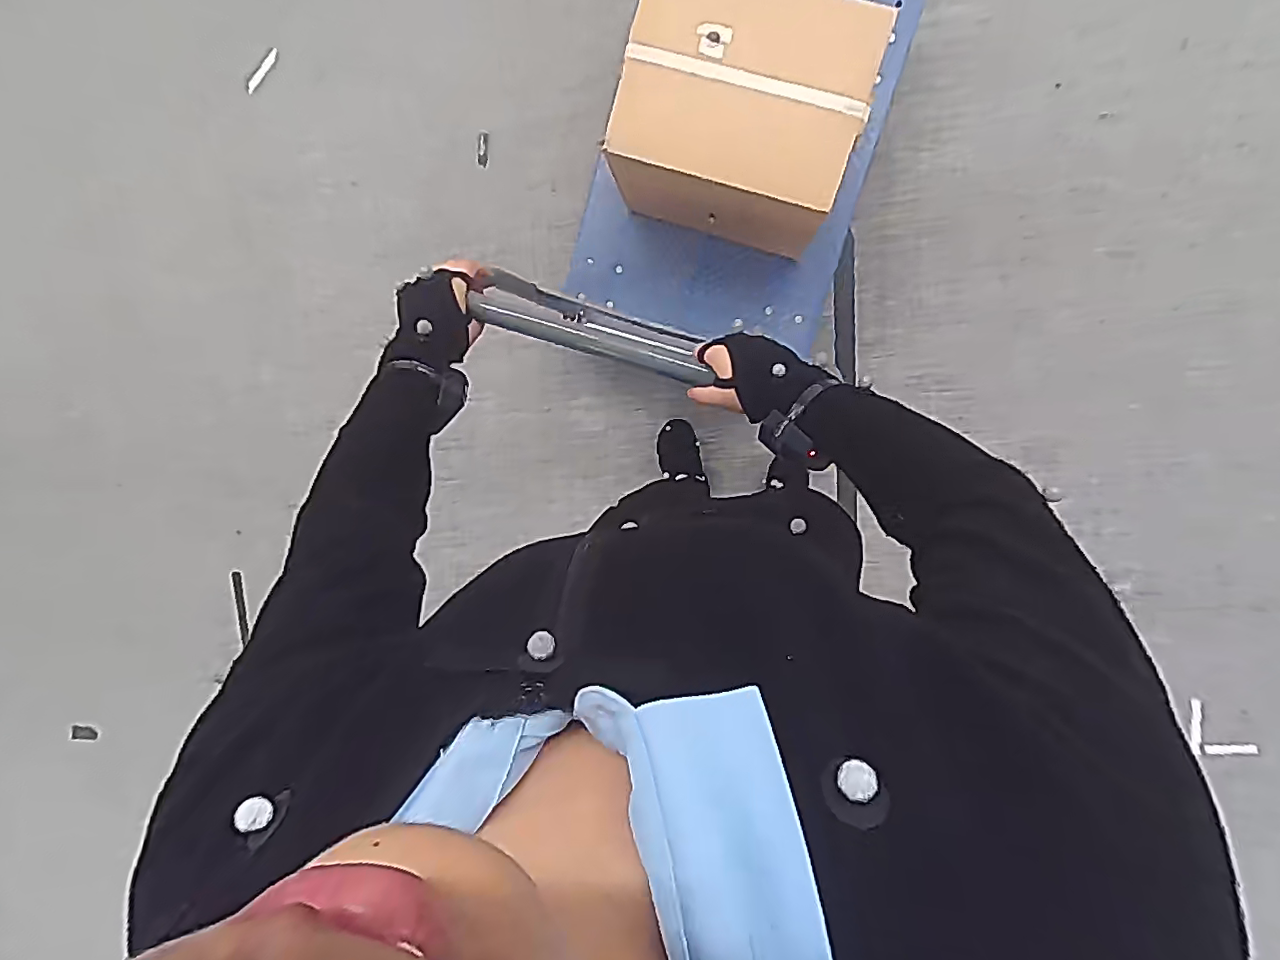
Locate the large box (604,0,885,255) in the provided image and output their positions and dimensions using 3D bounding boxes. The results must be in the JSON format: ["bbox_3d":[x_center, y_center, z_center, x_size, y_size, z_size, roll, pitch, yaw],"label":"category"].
[{"bbox_3d":[0.187,-0.676,1.053,0.408,0.320,0.320,18,99,5],"label":"large box"}]
